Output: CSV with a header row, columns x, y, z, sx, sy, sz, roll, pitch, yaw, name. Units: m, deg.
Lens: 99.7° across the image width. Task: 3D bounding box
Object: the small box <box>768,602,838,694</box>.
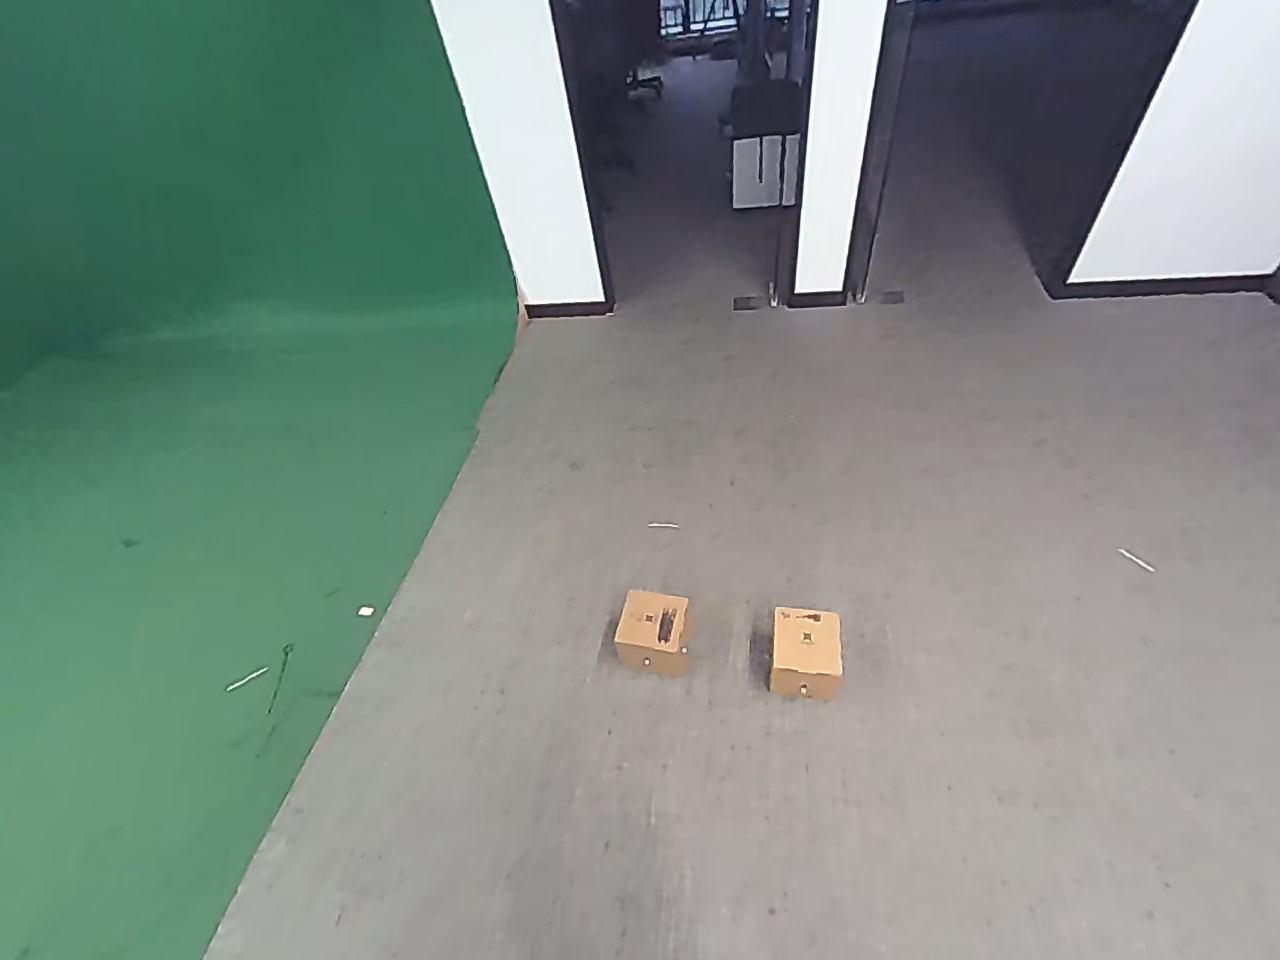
x,y,z,sx,sy,sz,roll,pitch,yaw,name
0.432,0.451,1.444,0.168,0.176,0.179,4,49,13,small box
